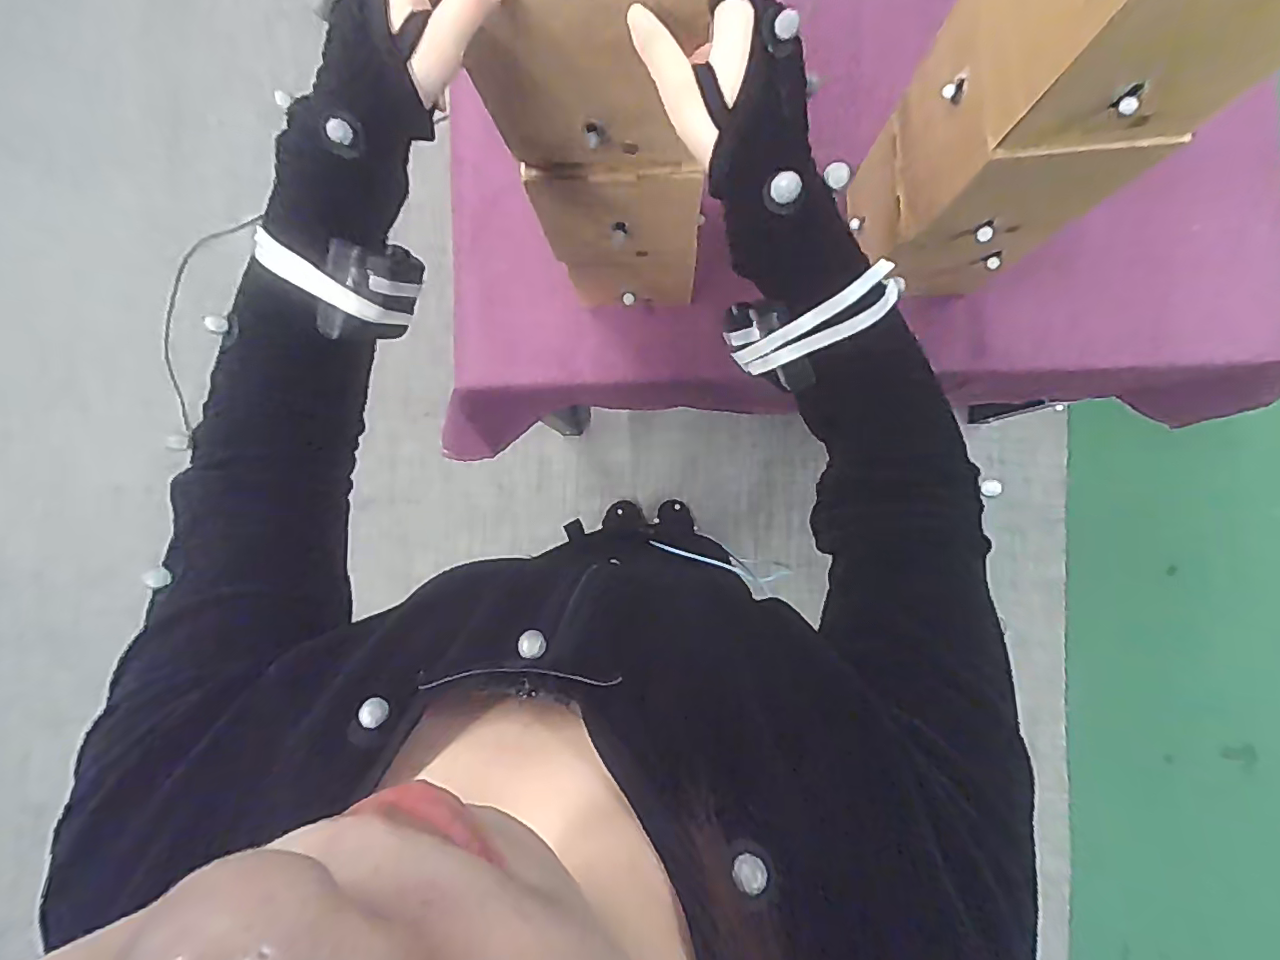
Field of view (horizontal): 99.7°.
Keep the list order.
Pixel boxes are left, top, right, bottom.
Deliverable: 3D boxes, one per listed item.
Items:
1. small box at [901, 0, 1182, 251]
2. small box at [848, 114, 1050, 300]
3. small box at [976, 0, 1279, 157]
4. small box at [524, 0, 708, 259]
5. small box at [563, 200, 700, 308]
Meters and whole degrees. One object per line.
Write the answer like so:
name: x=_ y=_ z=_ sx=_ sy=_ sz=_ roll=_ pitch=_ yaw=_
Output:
small box: x=0.382 y=-0.358 z=0.549 sx=0.168 sy=0.176 sz=0.179 roll=-2 pitch=88 yaw=3
small box: x=0.391 y=-0.348 z=0.711 sx=0.179 sy=0.176 sz=0.168 roll=-1 pitch=87 yaw=3
small box: x=0.371 y=-0.372 z=0.387 sx=0.168 sy=0.176 sz=0.179 roll=-4 pitch=88 yaw=3
small box: x=-0.018 y=-0.348 z=0.566 sx=0.168 sy=0.176 sz=0.179 roll=1 pitch=88 yaw=2
small box: x=-0.007 y=-0.348 z=0.730 sx=0.168 sy=0.176 sz=0.179 roll=1 pitch=88 yaw=3
